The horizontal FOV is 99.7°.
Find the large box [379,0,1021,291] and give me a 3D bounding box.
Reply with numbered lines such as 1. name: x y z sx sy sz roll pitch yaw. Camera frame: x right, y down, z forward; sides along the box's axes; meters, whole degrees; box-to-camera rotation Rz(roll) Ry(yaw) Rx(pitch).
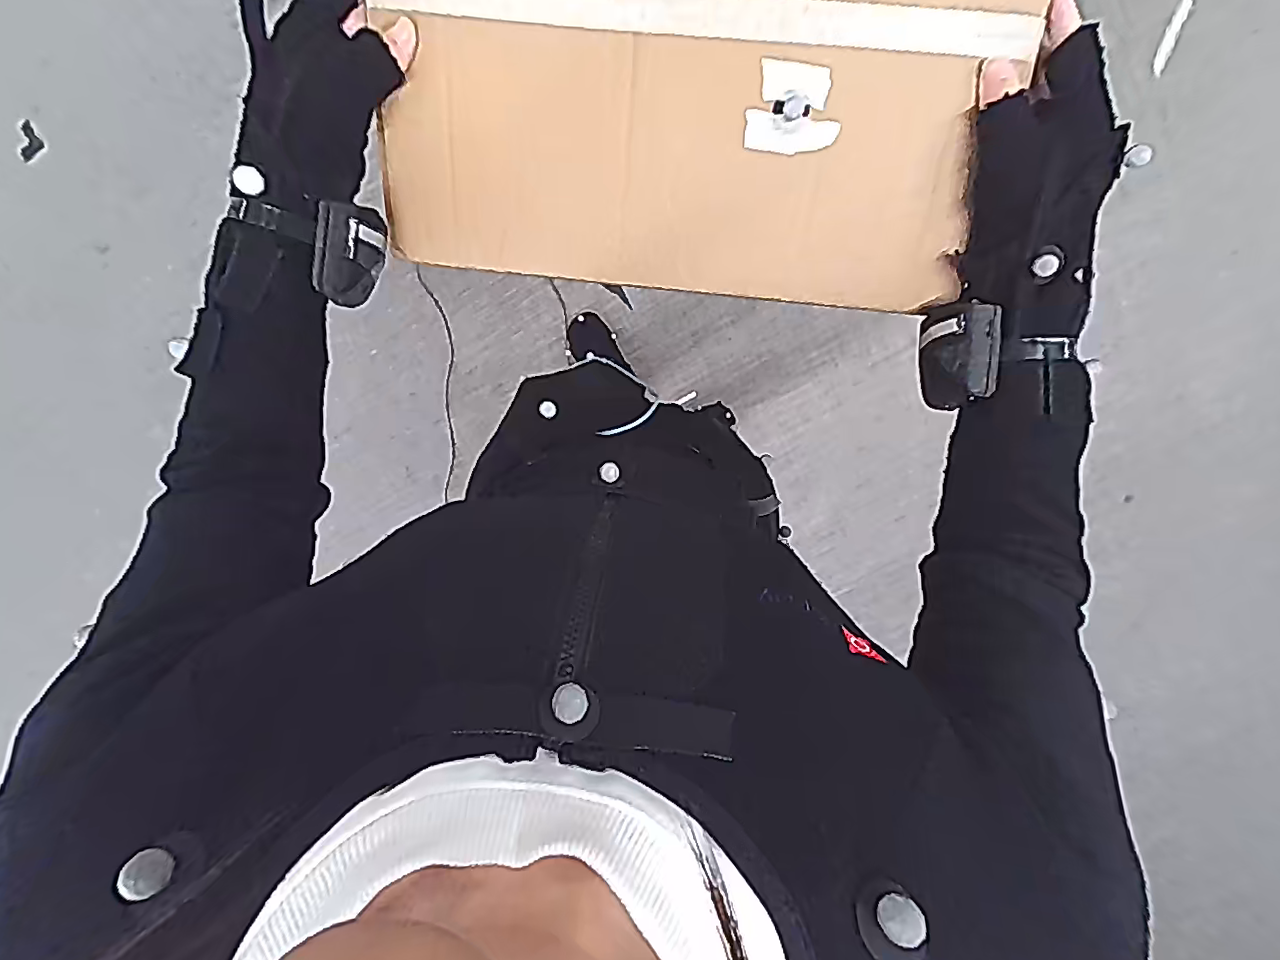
1. large box: 0.039 -0.350 0.473 0.408 0.320 0.320 5 115 2
